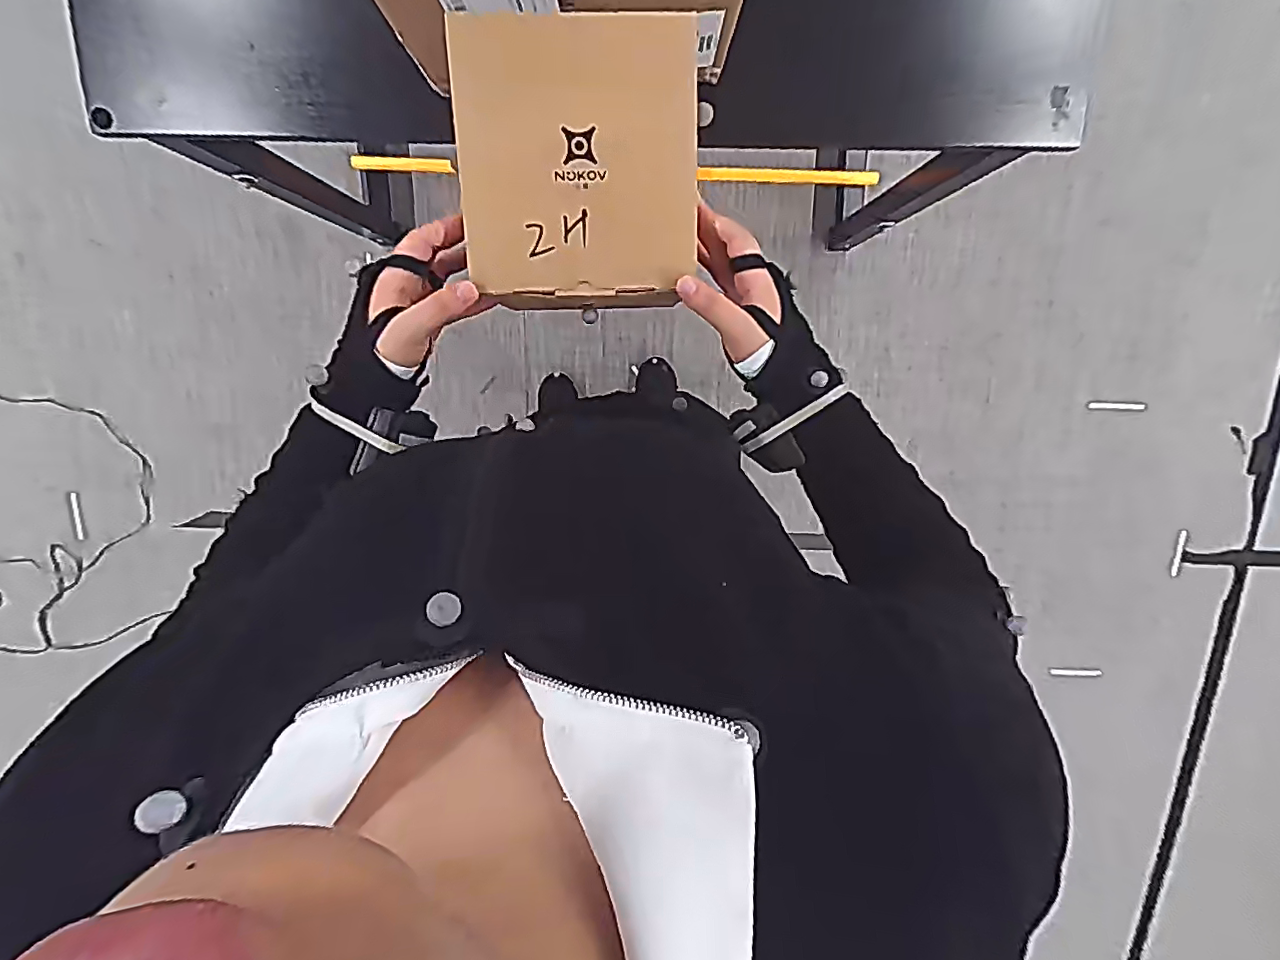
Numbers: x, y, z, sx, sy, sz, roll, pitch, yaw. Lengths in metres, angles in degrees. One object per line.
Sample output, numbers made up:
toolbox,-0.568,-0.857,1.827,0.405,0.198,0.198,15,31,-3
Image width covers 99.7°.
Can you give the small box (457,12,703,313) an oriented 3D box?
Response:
small box,-0.043,-0.238,0.450,0.168,0.176,0.179,-2,103,-2
